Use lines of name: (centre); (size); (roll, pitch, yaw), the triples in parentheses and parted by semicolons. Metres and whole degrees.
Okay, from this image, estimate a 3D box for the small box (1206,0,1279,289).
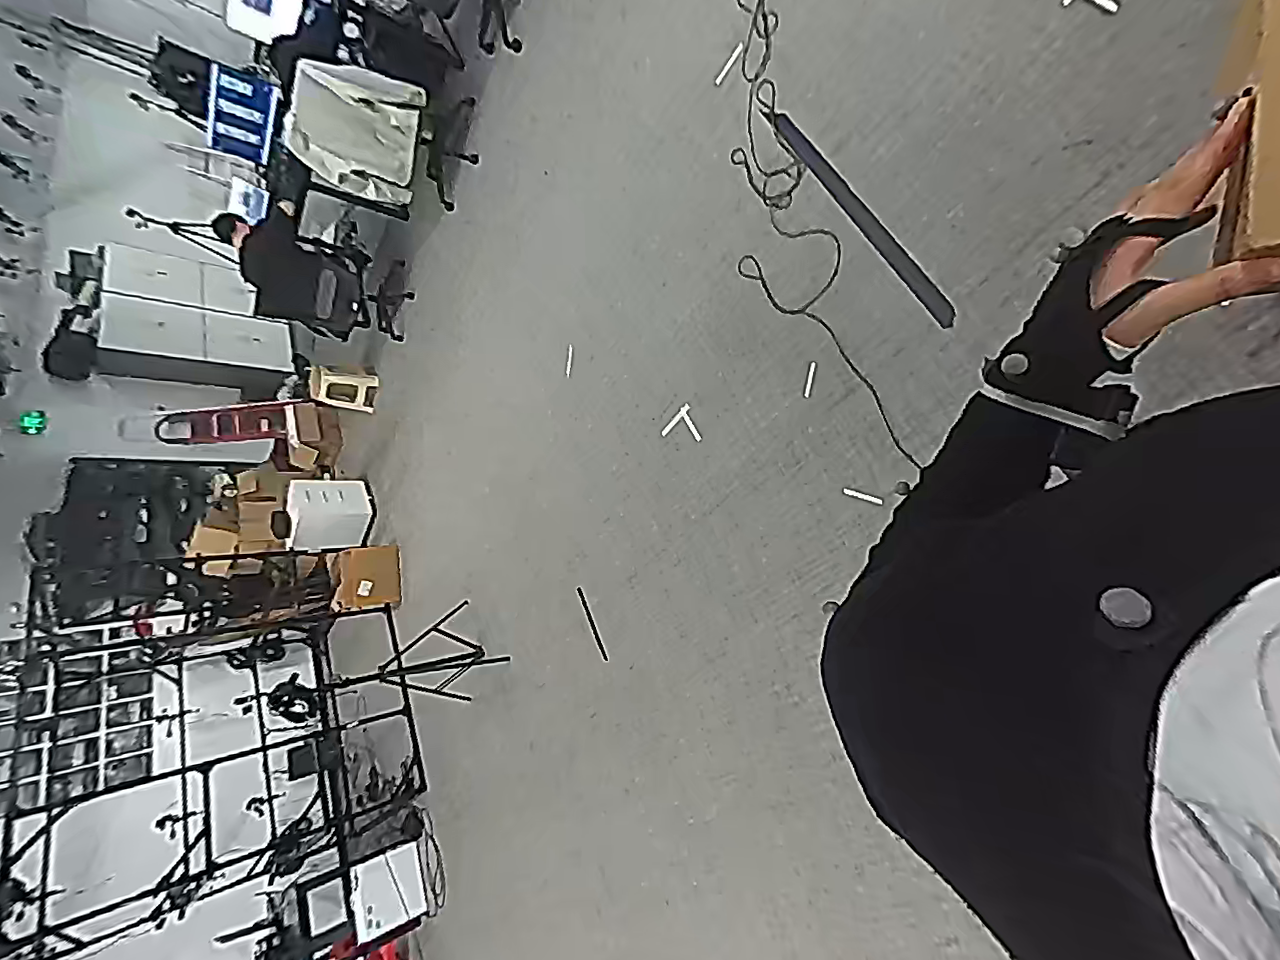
small box: (0.423, -0.214, 0.279); (0.168, 0.176, 0.179); (4, 98, 42)
